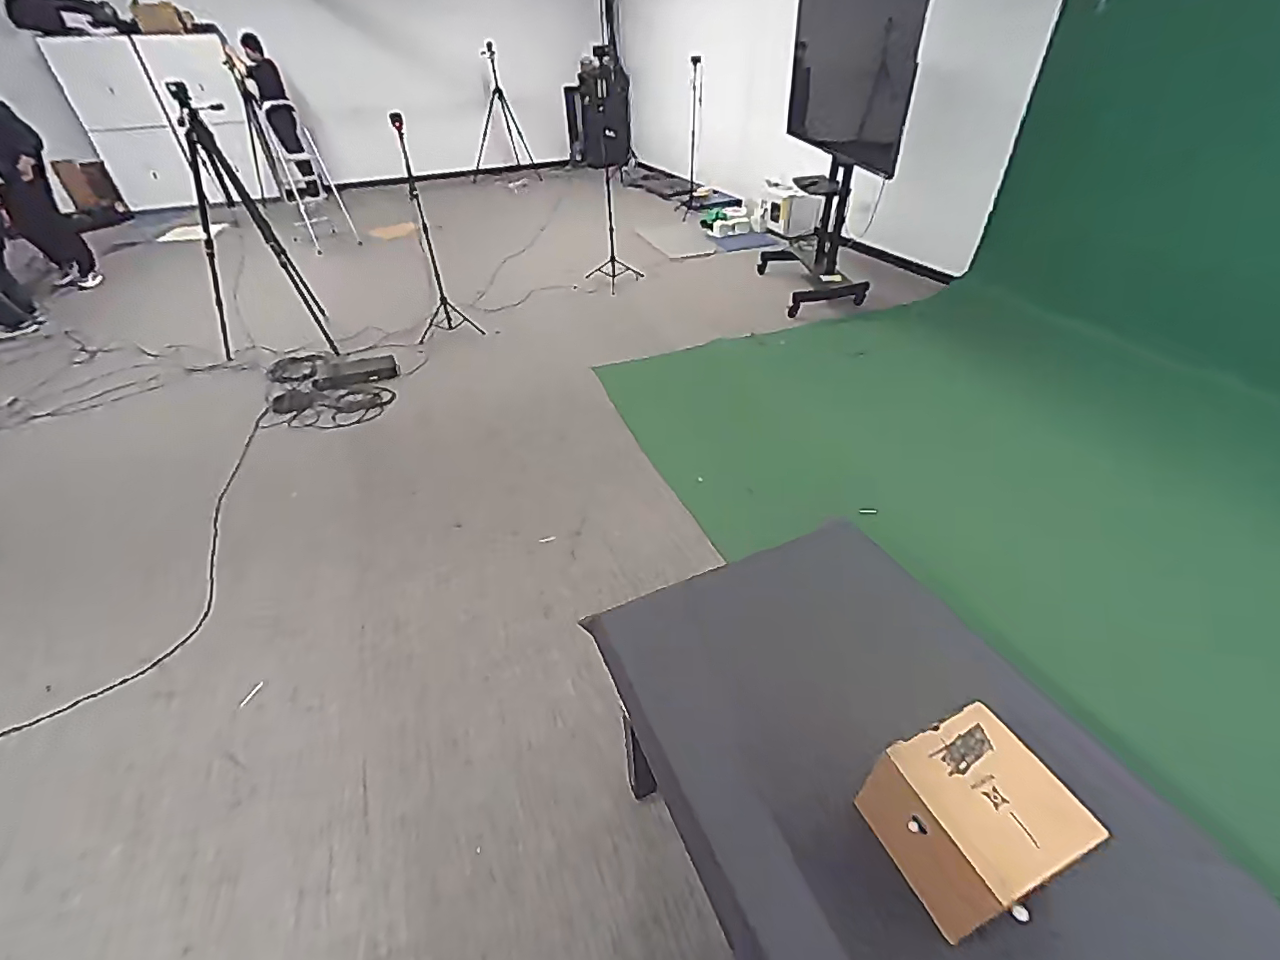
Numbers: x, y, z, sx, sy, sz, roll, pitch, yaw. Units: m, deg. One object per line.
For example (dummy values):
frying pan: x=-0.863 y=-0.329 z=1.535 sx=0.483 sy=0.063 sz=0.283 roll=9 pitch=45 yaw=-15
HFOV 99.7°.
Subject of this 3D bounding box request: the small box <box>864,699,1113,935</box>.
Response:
small box: x=0.416 y=0.421 z=0.683 sx=0.168 sy=0.176 sz=0.179 roll=-17 pitch=42 yaw=-16
